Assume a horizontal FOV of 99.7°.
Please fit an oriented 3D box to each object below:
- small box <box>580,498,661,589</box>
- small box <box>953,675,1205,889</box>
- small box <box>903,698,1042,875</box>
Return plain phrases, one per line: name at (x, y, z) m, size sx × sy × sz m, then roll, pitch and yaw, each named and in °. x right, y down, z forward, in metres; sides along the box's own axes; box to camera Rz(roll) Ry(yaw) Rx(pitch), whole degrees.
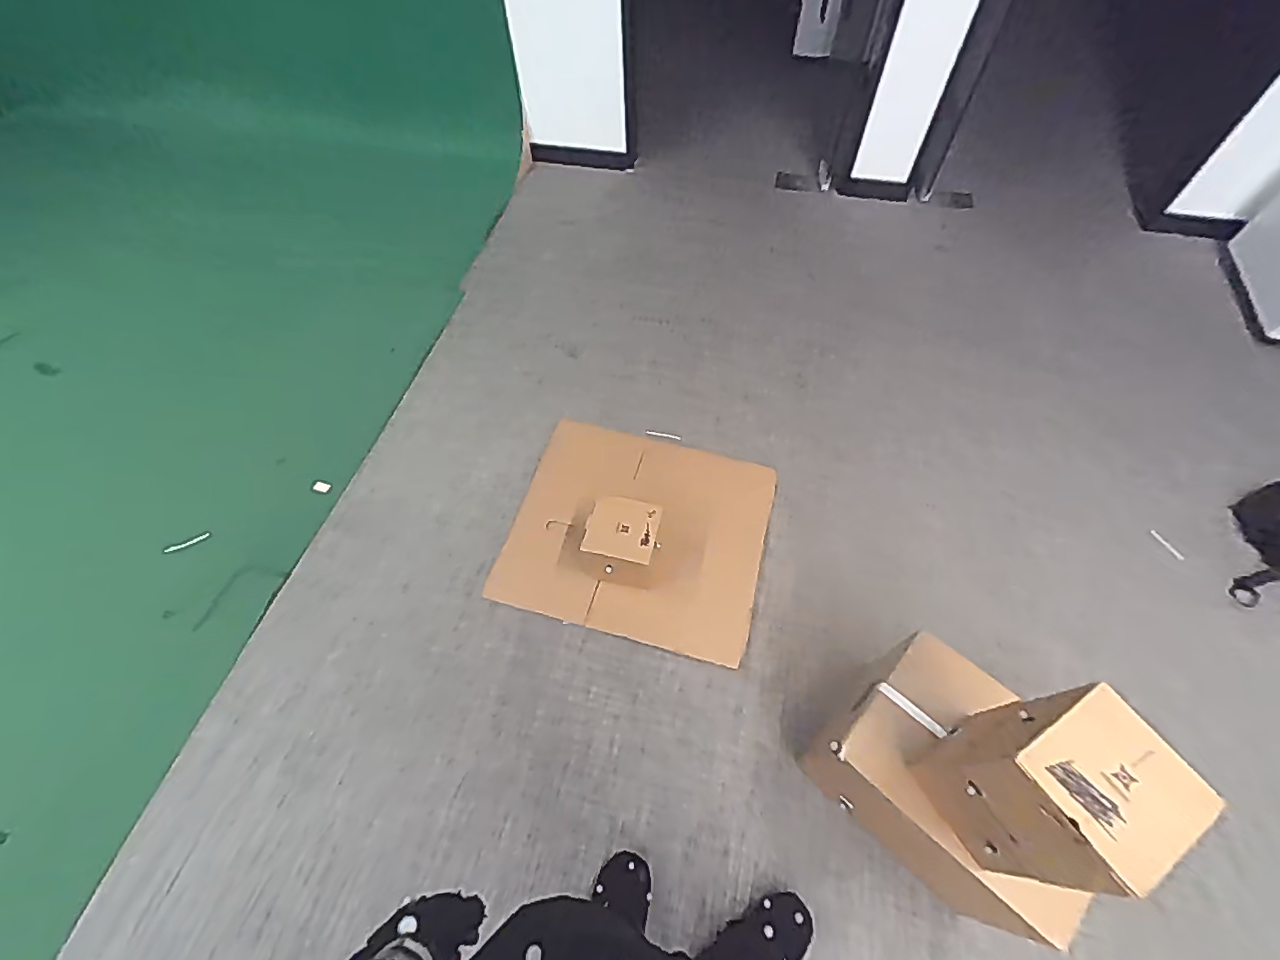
small box at (-0.044, 0.169, 1.414) m, size 0.179 × 0.176 × 0.168 m, roll 8°, pitch 57°, yaw 8°
small box at (0.557, 0.396, 0.720) m, size 0.179 × 0.176 × 0.168 m, roll -31°, pitch 63°, yaw -16°
small box at (0.565, 0.481, 0.860) m, size 0.168 × 0.176 × 0.179 m, roll -28°, pitch 60°, yaw -16°
